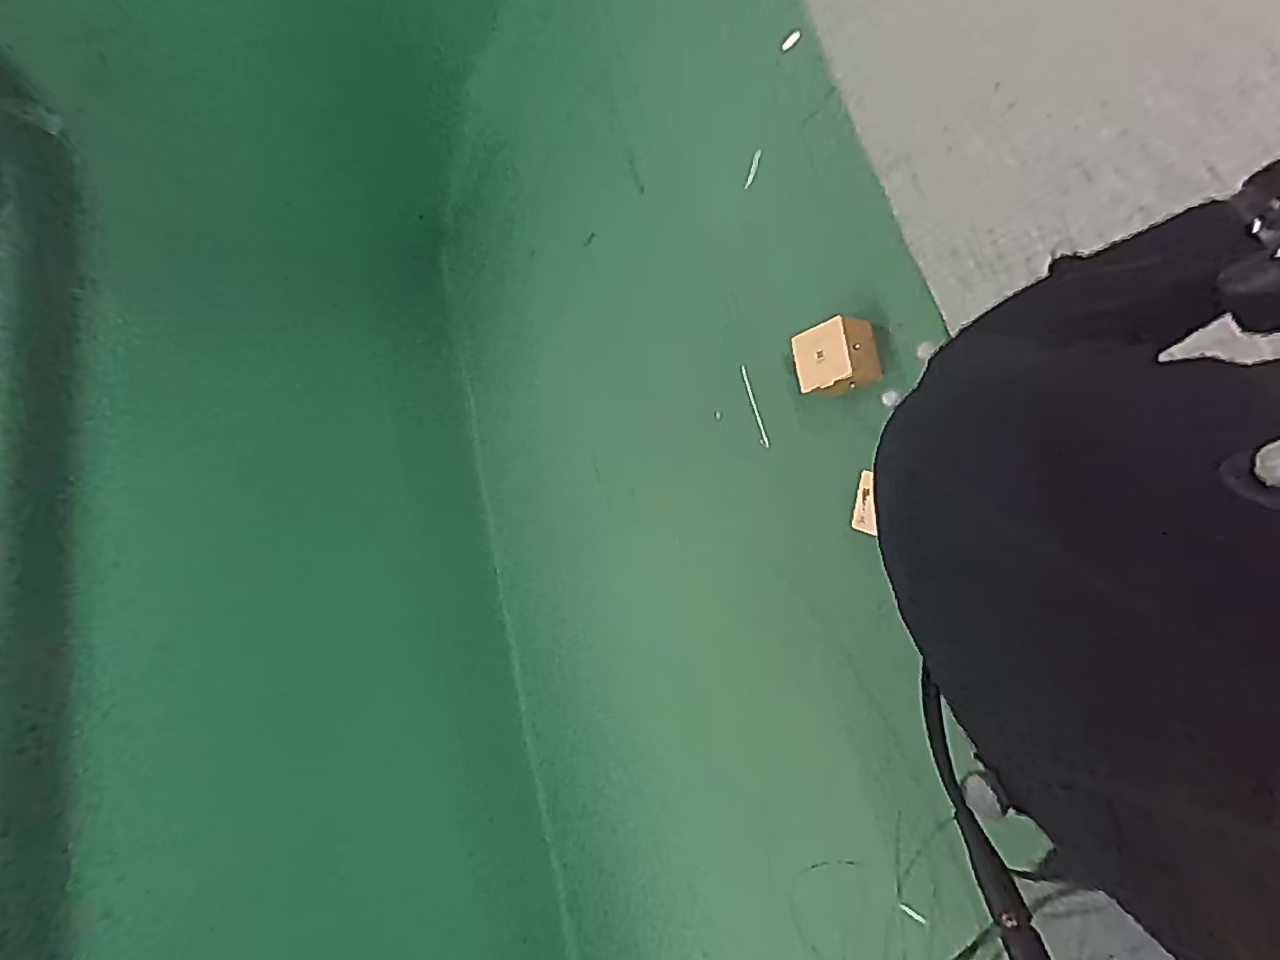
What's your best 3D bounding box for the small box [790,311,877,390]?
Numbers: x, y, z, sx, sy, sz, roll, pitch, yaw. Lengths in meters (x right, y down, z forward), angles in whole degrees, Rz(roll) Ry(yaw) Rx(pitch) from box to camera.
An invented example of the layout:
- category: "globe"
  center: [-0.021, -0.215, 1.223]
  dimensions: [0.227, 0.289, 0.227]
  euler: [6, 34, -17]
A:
- category: "small box"
  center: [0.565, -0.366, 1.572]
  dimensions: [0.168, 0.176, 0.179]
  euler: [-17, 78, 49]
